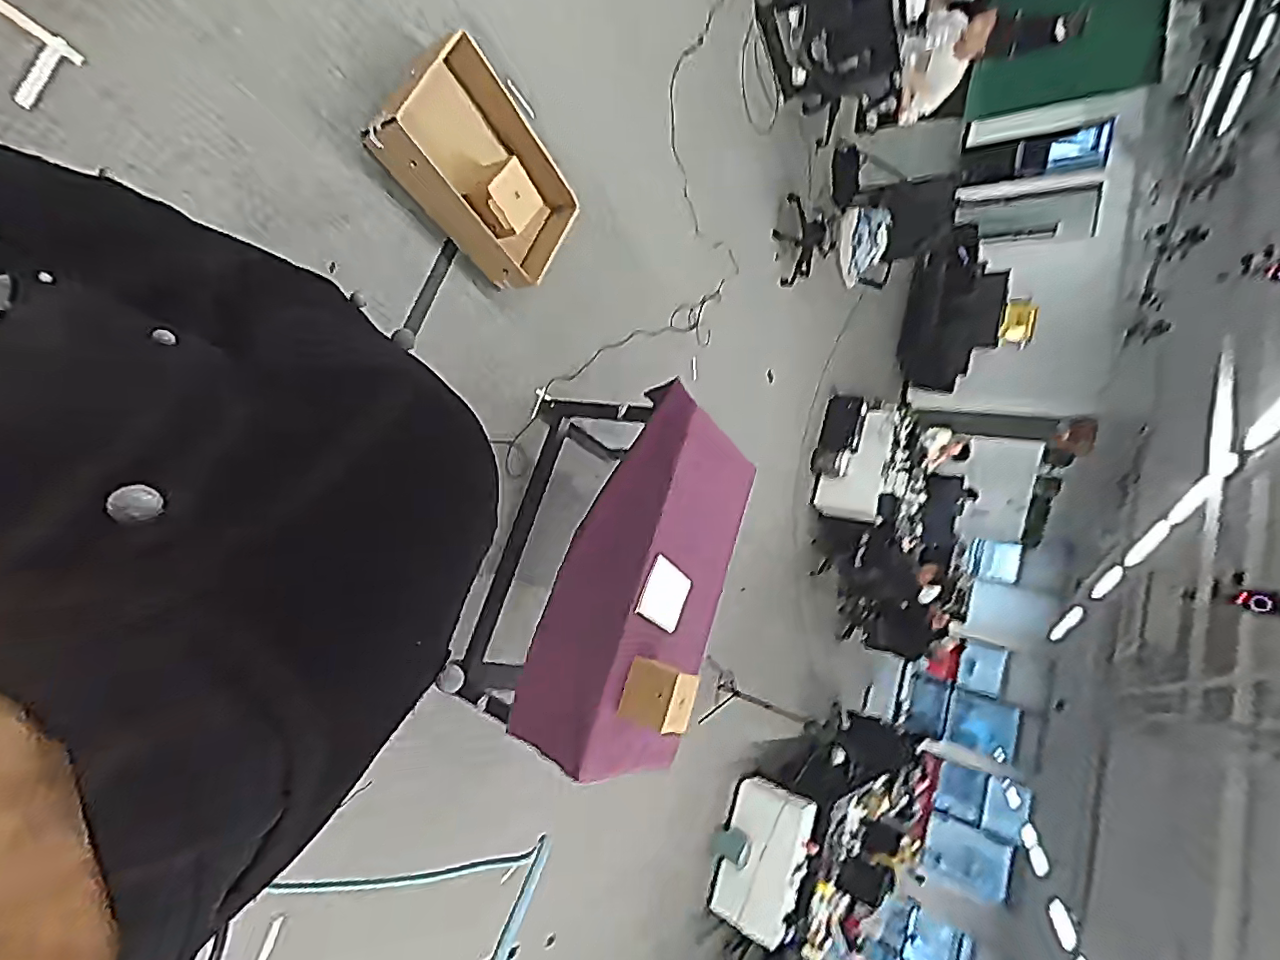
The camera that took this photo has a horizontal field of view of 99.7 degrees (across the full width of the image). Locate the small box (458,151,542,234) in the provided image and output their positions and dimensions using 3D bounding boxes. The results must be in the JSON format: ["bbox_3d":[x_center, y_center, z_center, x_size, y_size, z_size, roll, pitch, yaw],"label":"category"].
[{"bbox_3d":[-0.460,-0.925,1.755,0.179,0.176,0.168,-63,142,-23],"label":"small box"}]

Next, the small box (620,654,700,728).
[{"bbox_3d":[0.062,0.662,1.704,0.168,0.176,0.179,37,68,-52],"label":"small box"}]
